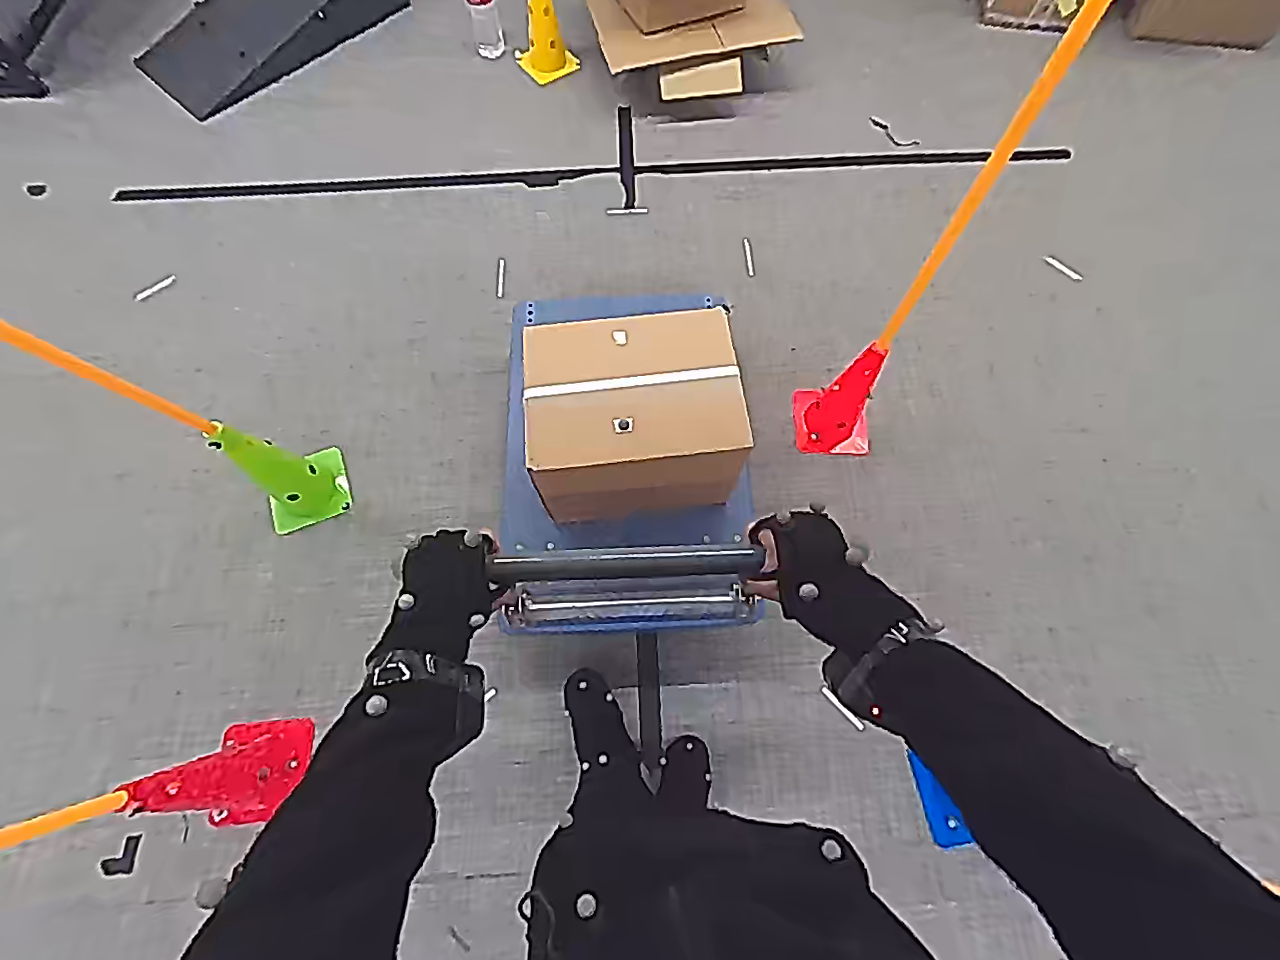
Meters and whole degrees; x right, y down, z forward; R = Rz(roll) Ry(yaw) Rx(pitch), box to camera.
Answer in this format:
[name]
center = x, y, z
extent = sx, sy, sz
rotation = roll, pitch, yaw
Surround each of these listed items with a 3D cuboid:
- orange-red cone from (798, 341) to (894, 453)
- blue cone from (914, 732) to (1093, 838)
[orange-red cone]
center = 0.544, -0.231, 1.356
extent = 0.199, 0.360, 0.198
rotation = 4, 69, 0
[blue cone]
center = 0.716, 0.605, 1.038
extent = 0.193, 0.380, 0.192
rotation = -6, 67, -3
